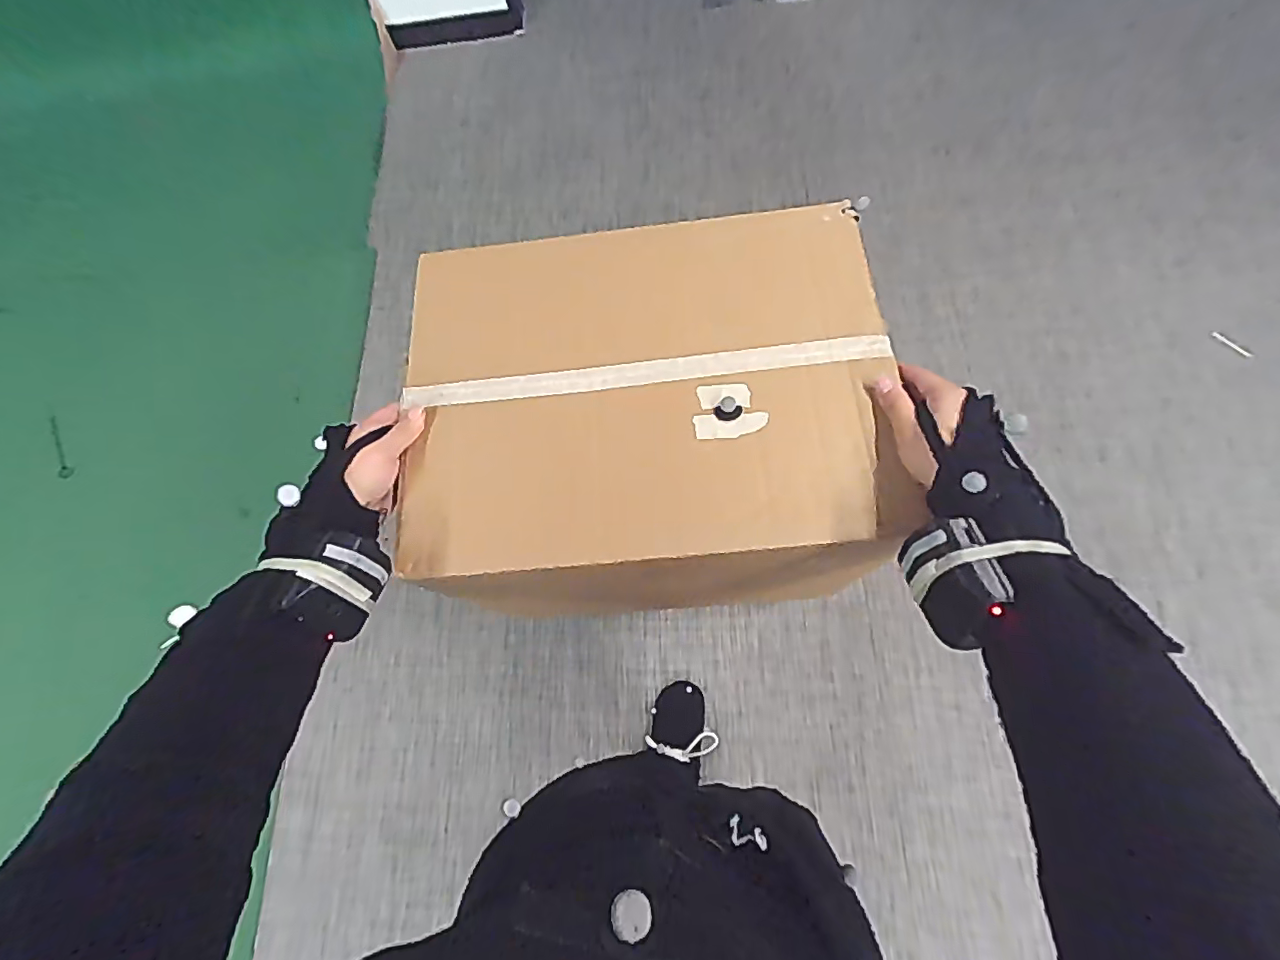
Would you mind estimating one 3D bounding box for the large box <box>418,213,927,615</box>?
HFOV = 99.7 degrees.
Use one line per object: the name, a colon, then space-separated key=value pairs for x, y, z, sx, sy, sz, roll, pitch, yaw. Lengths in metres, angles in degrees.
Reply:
large box: x=0.018 y=-0.038 z=0.603 sx=0.408 sy=0.320 sz=0.320 roll=-5 pitch=71 yaw=2
